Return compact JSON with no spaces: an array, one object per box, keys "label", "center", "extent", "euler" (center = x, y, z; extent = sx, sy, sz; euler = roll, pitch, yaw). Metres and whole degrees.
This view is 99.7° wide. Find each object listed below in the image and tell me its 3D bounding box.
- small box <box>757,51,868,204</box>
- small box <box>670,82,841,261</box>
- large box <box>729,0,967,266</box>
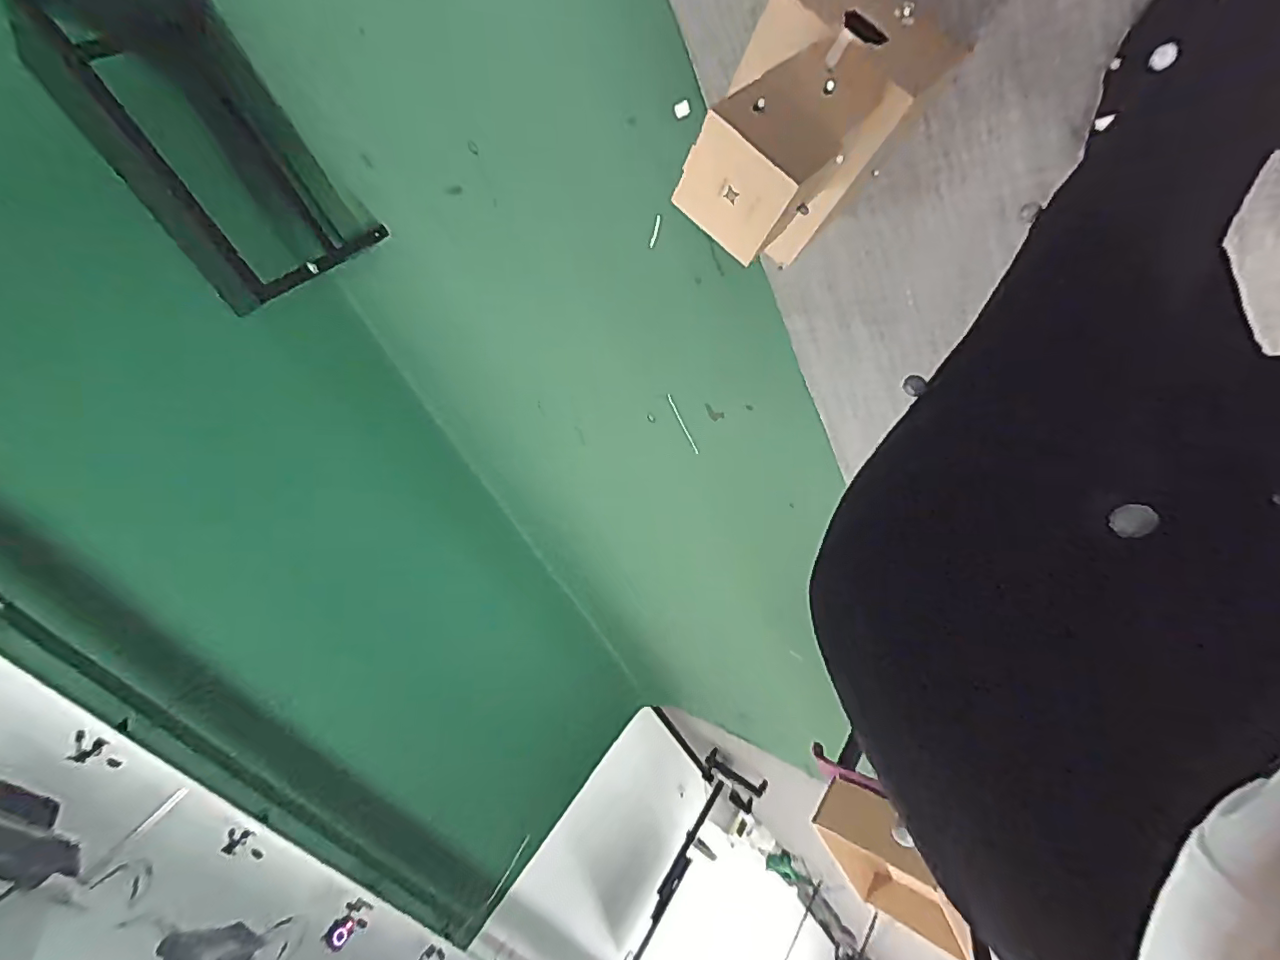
[{"label":"small box","center":[0.276,-0.613,0.963],"extent":[0.168,0.176,0.179],"euler":[42,151,3]},{"label":"small box","center":[0.186,-0.505,0.881],"extent":[0.179,0.176,0.168],"euler":[42,151,0]},{"label":"large box","center":[0.379,-0.762,1.147],"extent":[0.320,0.320,0.408],"euler":[43,152,3]}]
